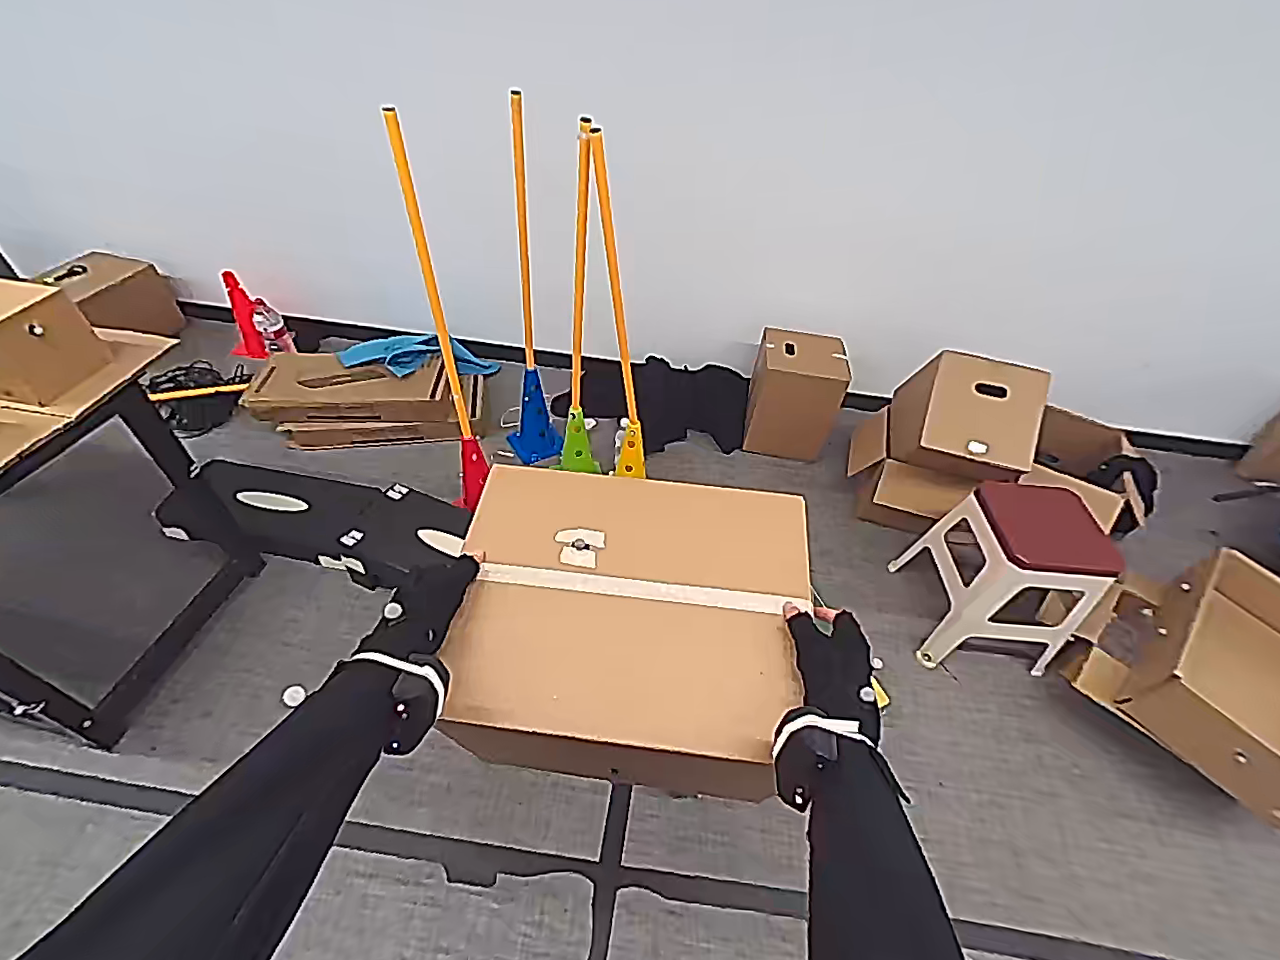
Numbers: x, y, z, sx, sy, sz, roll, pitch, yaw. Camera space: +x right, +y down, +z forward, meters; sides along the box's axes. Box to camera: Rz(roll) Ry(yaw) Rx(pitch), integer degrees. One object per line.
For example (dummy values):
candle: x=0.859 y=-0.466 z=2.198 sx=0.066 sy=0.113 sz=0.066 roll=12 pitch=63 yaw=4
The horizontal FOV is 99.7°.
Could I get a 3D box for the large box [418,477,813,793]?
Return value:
large box: x=-0.012 y=0.221 z=0.740 sx=0.408 sy=0.320 sz=0.320 roll=6 pitch=54 yaw=4
